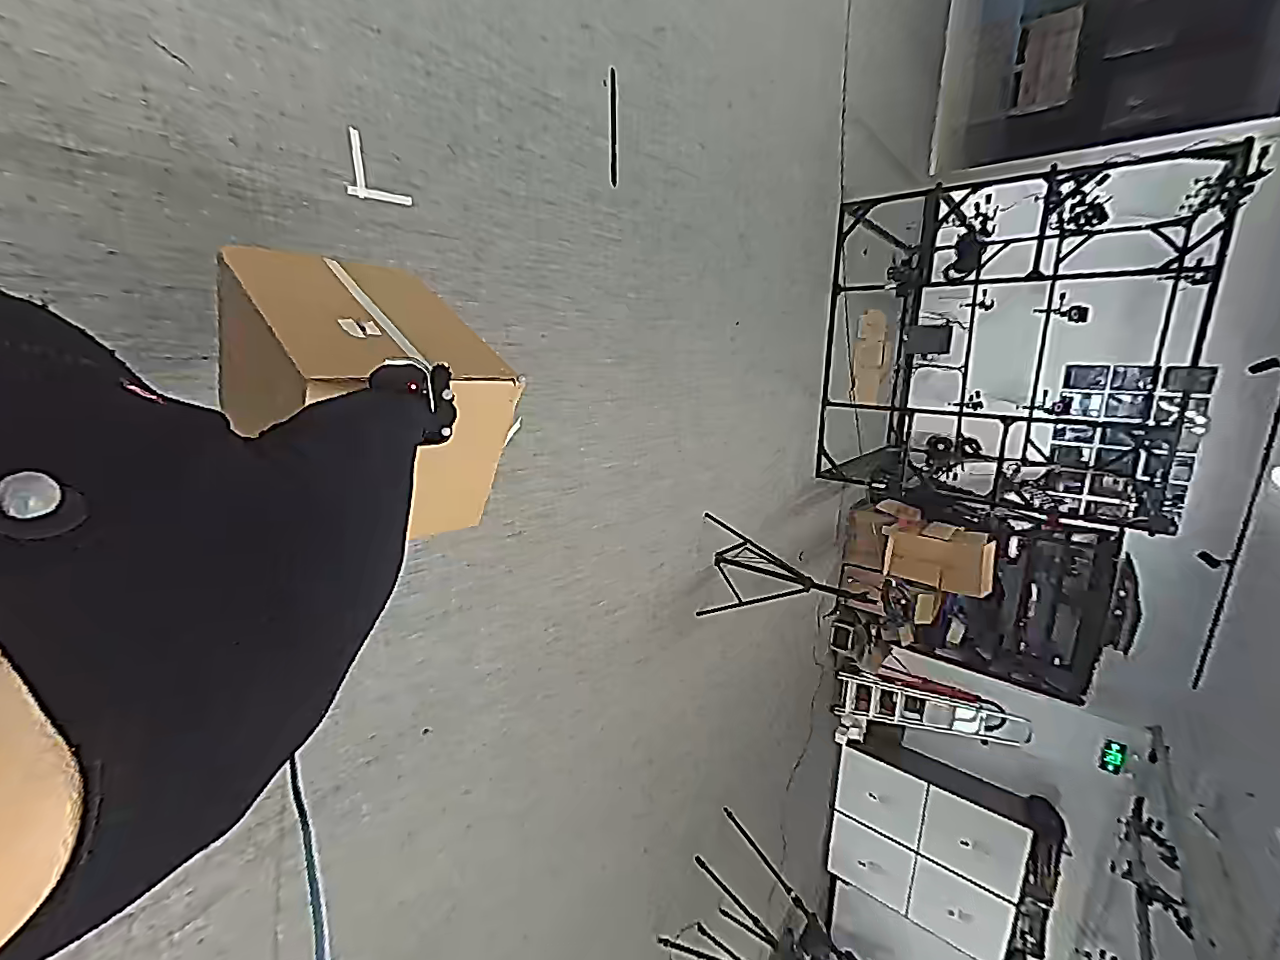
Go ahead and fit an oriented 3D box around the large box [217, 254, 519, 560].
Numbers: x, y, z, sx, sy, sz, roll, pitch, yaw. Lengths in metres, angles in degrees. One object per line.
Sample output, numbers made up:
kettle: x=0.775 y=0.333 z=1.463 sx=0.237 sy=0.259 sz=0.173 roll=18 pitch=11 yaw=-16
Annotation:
large box: x=-0.483 y=-0.132 z=0.933 sx=0.320 sy=0.408 sz=0.320 roll=-11 pitch=137 yaw=-48
